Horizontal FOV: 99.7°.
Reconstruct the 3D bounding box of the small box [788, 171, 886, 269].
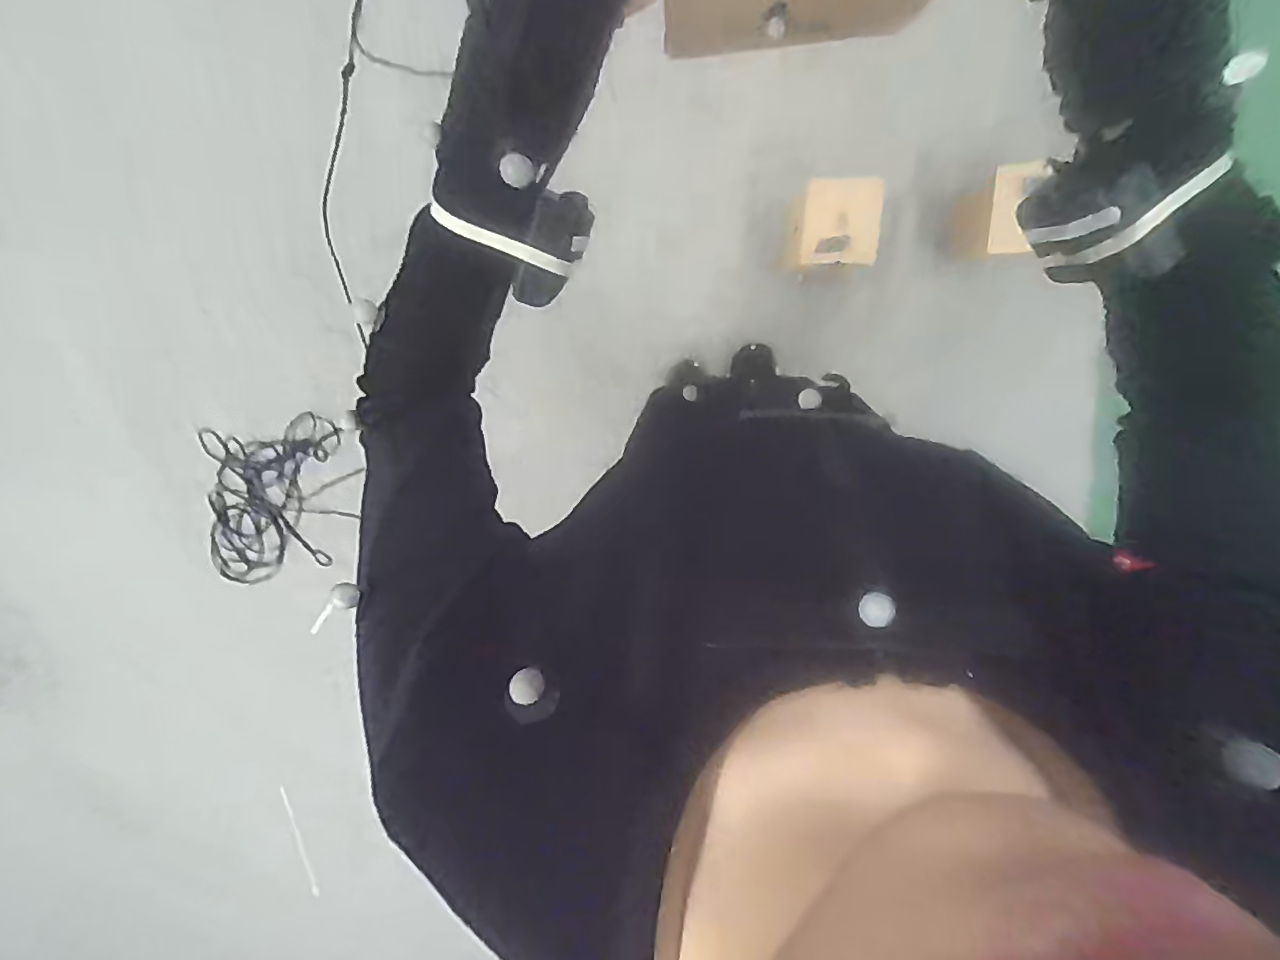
[{"bbox_3d":[0.437,-0.581,1.230,0.168,0.176,0.179,1,103,4],"label":"small box"}]
